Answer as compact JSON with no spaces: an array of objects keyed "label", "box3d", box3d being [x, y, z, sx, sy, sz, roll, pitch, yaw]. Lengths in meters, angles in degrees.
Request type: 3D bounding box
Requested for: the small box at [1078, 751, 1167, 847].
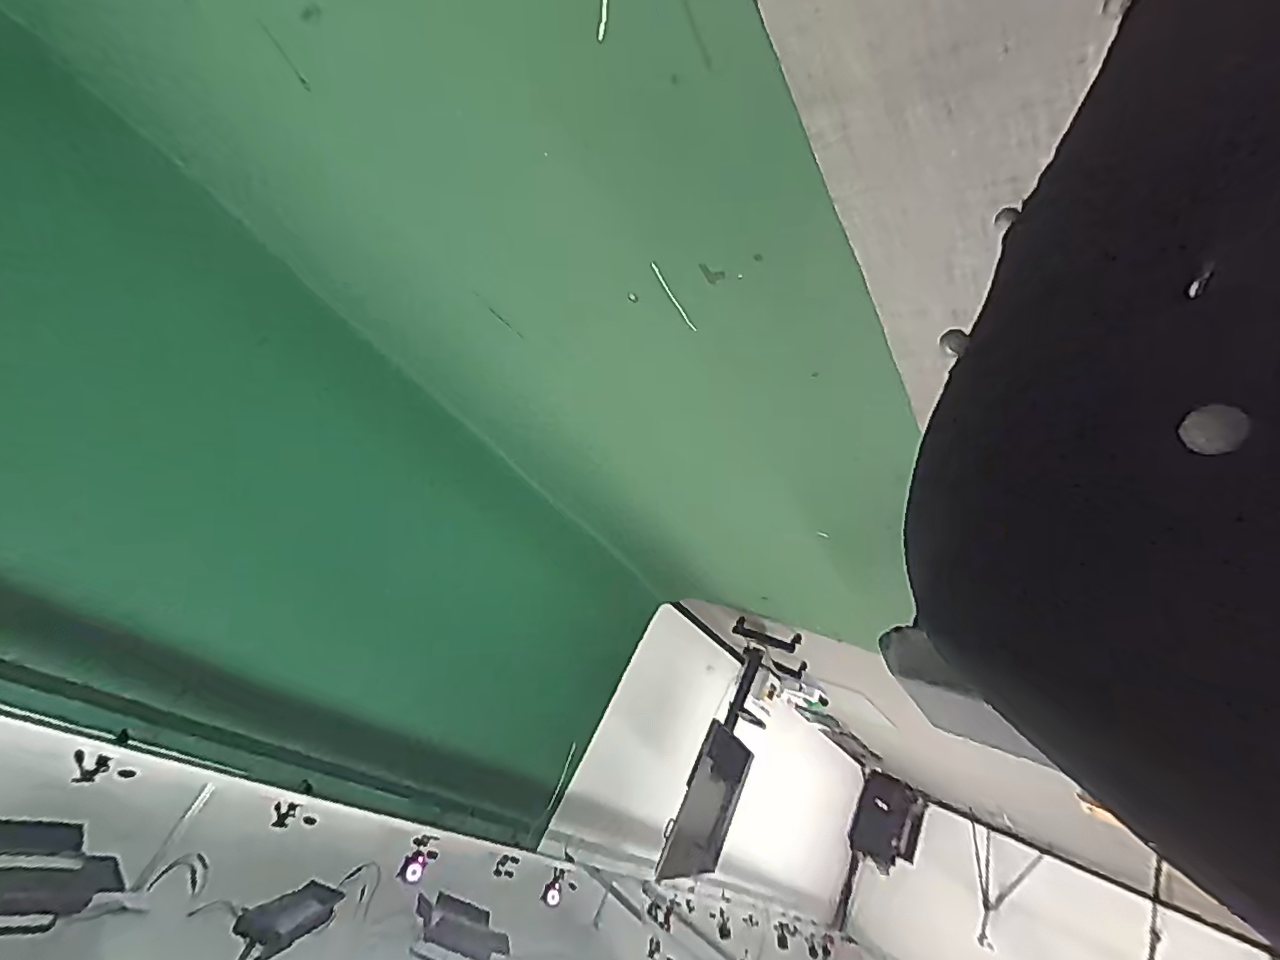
[{"label":"small box","box3d":[1.387,0.909,1.551,0.179,0.176,0.168,5,149,47]}]
